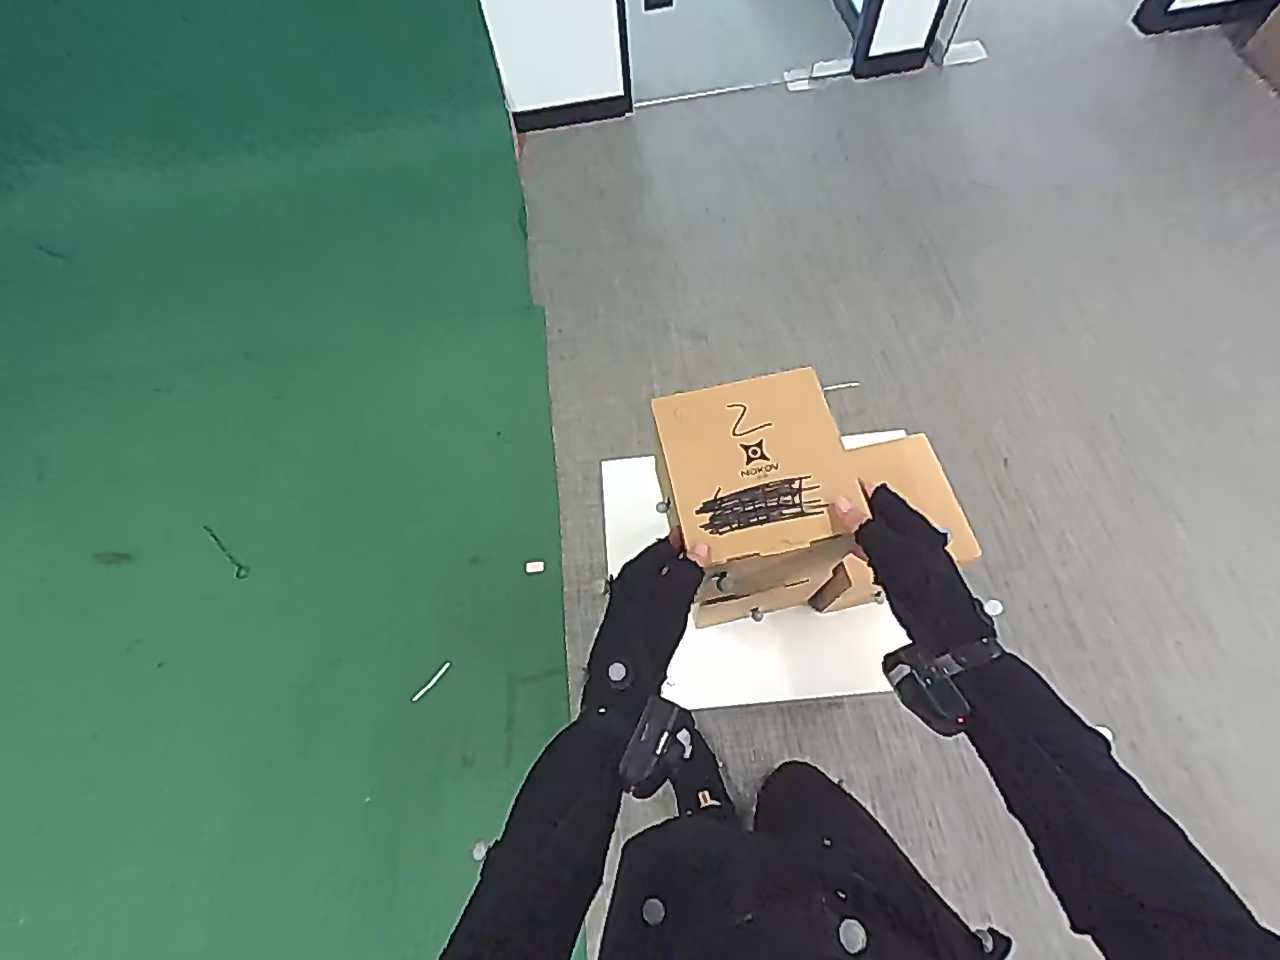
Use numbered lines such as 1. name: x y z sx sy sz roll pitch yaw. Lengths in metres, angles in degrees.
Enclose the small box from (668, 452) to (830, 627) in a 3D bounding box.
1. small box: 0.136 0.088 0.748 0.168 0.176 0.179 -13 65 -1
